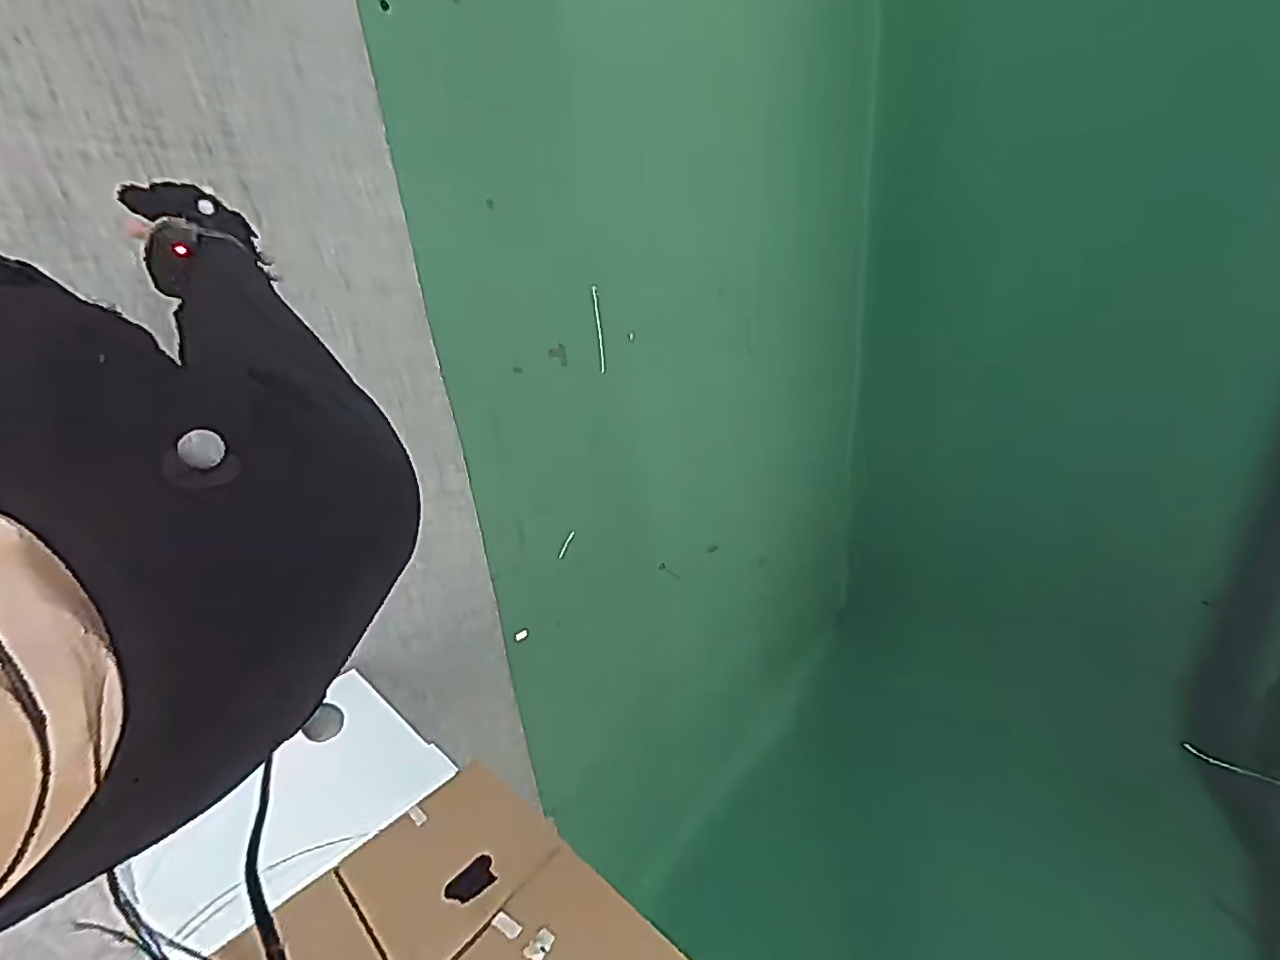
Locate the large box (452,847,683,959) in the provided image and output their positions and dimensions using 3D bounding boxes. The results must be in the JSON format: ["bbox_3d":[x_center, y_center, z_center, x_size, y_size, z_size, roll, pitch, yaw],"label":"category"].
[{"bbox_3d":[-0.111,0.914,0.860,0.320,0.320,0.408,-28,122,-41],"label":"large box"}]
